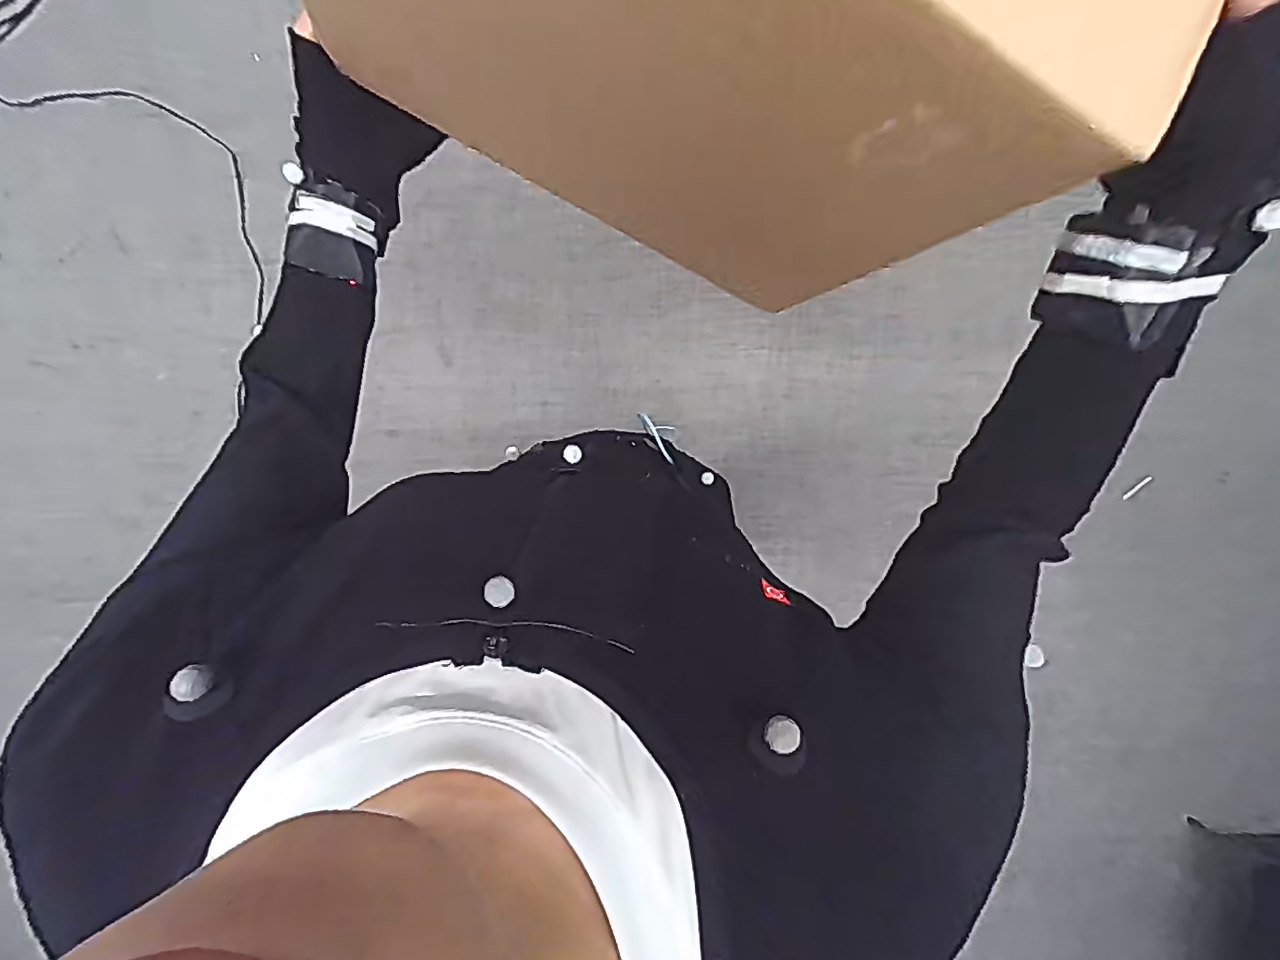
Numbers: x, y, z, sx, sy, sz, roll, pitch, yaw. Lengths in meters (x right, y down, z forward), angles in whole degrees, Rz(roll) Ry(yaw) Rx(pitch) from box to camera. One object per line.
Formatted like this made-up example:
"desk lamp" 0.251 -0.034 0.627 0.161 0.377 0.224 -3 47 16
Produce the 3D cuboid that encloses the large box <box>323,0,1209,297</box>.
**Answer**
"large box" 0.048 -0.363 0.311 0.408 0.320 0.320 23 91 -15
